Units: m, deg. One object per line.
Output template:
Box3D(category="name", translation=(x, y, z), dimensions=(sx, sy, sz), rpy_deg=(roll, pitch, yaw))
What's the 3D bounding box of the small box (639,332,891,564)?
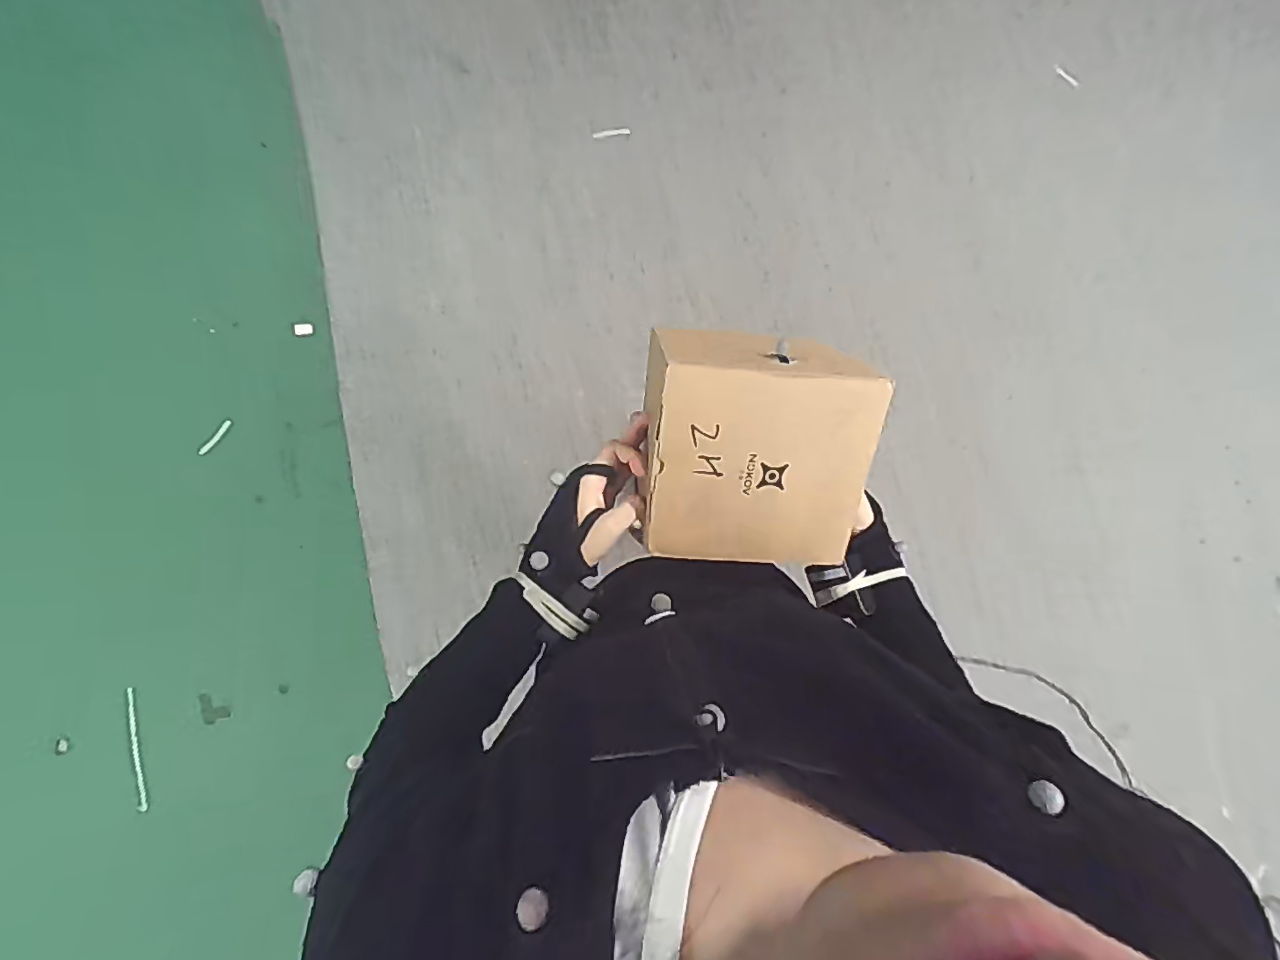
Box3D(category="small box", translation=(0.095, -0.039, 0.509), dimensions=(0.179, 0.176, 0.168), rpy_deg=(3, 115, -4))
